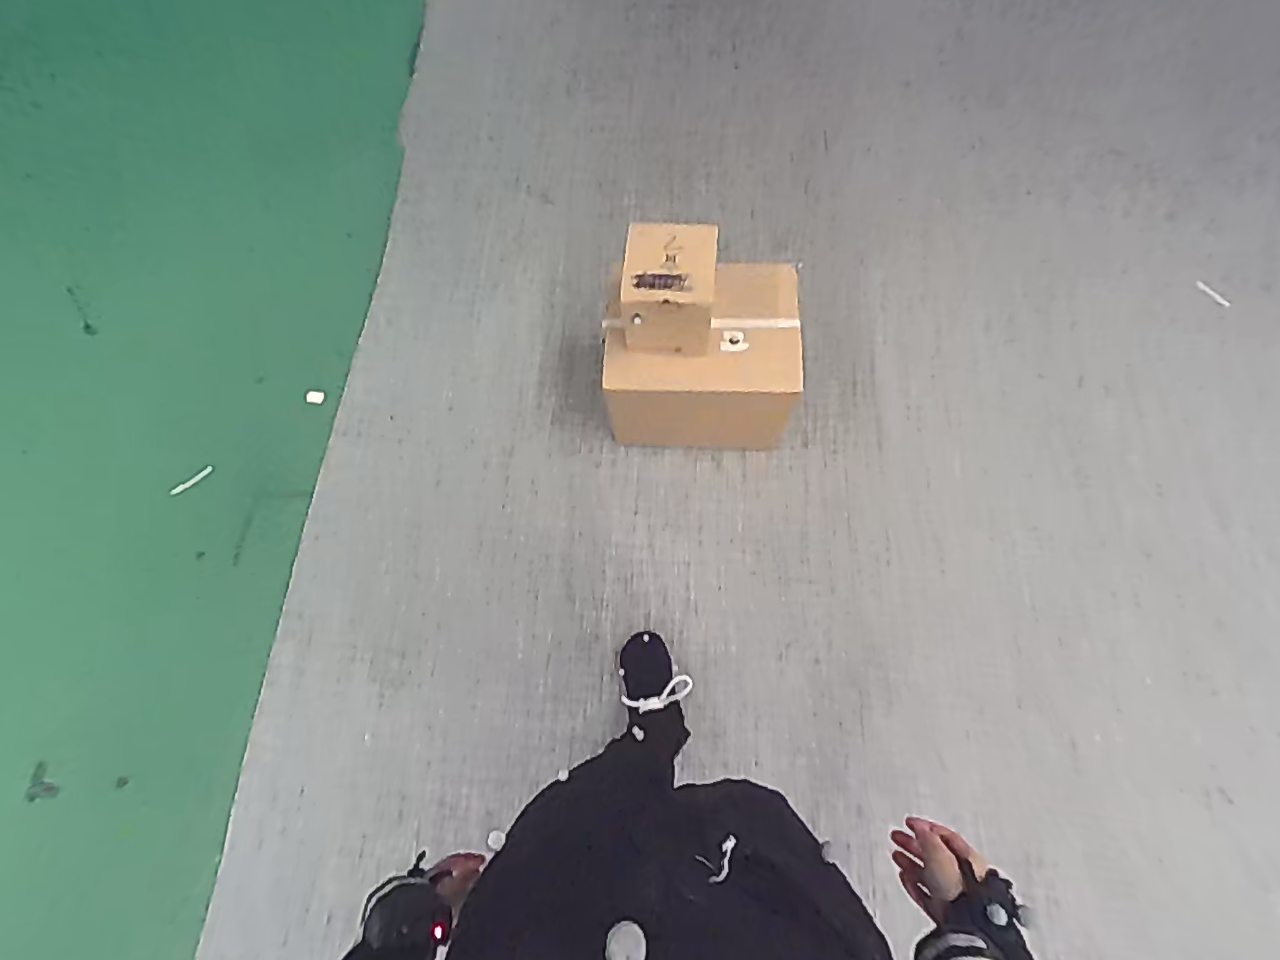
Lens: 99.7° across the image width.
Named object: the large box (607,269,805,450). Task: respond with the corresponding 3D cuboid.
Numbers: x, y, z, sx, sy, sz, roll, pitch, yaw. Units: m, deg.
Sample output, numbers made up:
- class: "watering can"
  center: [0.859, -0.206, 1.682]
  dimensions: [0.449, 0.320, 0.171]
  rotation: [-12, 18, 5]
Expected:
- class: "large box"
  center: [0.140, -0.267, 1.267]
  dimensions: [0.408, 0.320, 0.320]
  rotation: [2, 72, 3]
